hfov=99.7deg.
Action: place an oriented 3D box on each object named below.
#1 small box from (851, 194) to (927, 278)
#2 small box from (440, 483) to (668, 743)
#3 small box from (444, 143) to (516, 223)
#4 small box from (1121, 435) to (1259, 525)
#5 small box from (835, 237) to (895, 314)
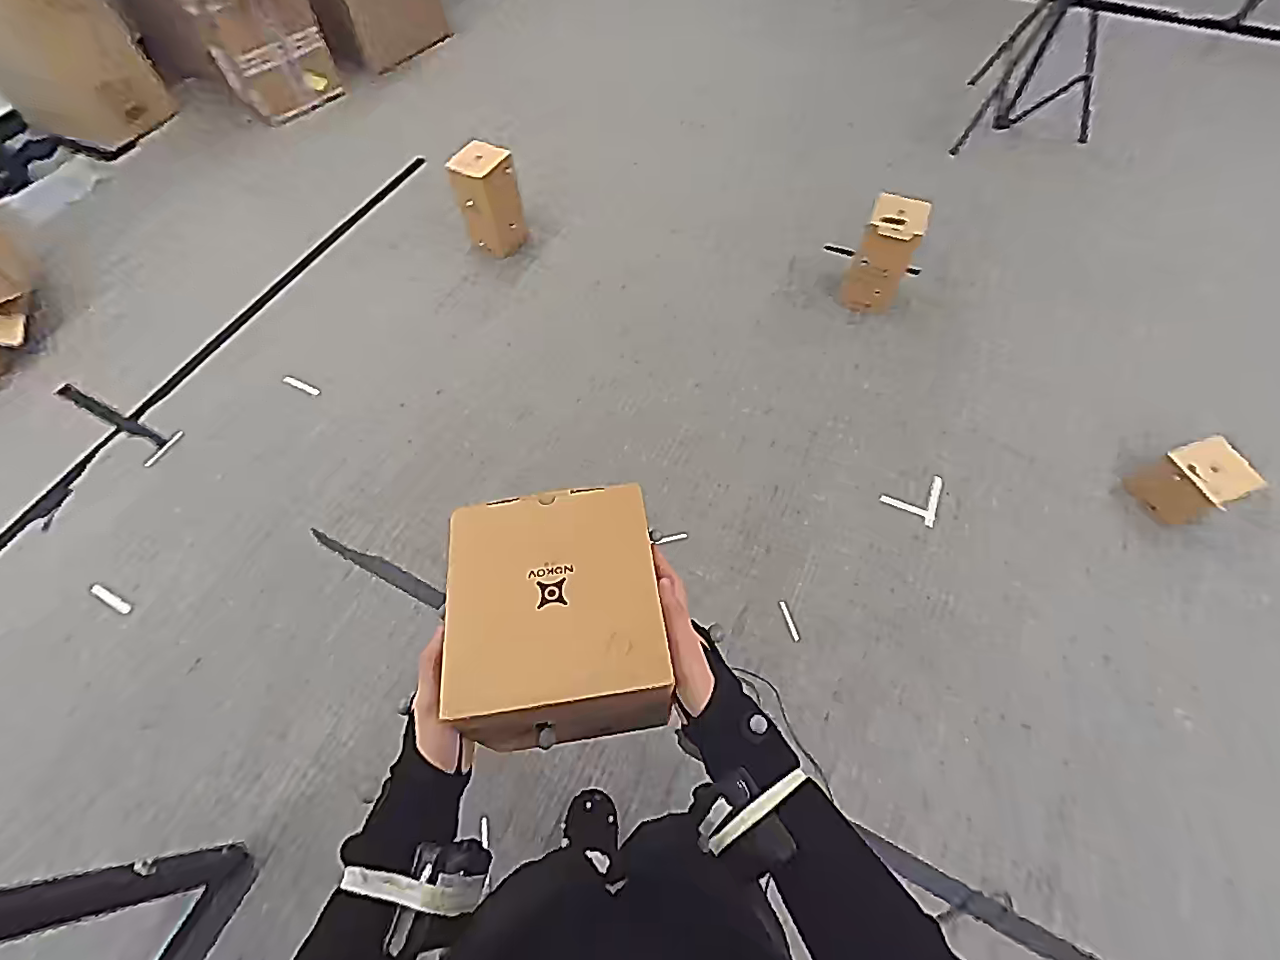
[{"bbox_3d":[0.813,-0.799,1.781,0.168,0.176,0.179,20,64,11],"label":"small box"},{"bbox_3d":[-0.067,0.128,0.490,0.168,0.176,0.179,-8,56,-3],"label":"small box"},{"bbox_3d":[-0.570,-1.074,1.958,0.168,0.176,0.179,26,67,15],"label":"small box"},{"bbox_3d":[1.532,0.004,1.520,0.179,0.176,0.168,-18,64,-8],"label":"small box"},{"bbox_3d":[0.811,-0.724,1.927,0.168,0.176,0.179,19,63,10],"label":"small box"}]
